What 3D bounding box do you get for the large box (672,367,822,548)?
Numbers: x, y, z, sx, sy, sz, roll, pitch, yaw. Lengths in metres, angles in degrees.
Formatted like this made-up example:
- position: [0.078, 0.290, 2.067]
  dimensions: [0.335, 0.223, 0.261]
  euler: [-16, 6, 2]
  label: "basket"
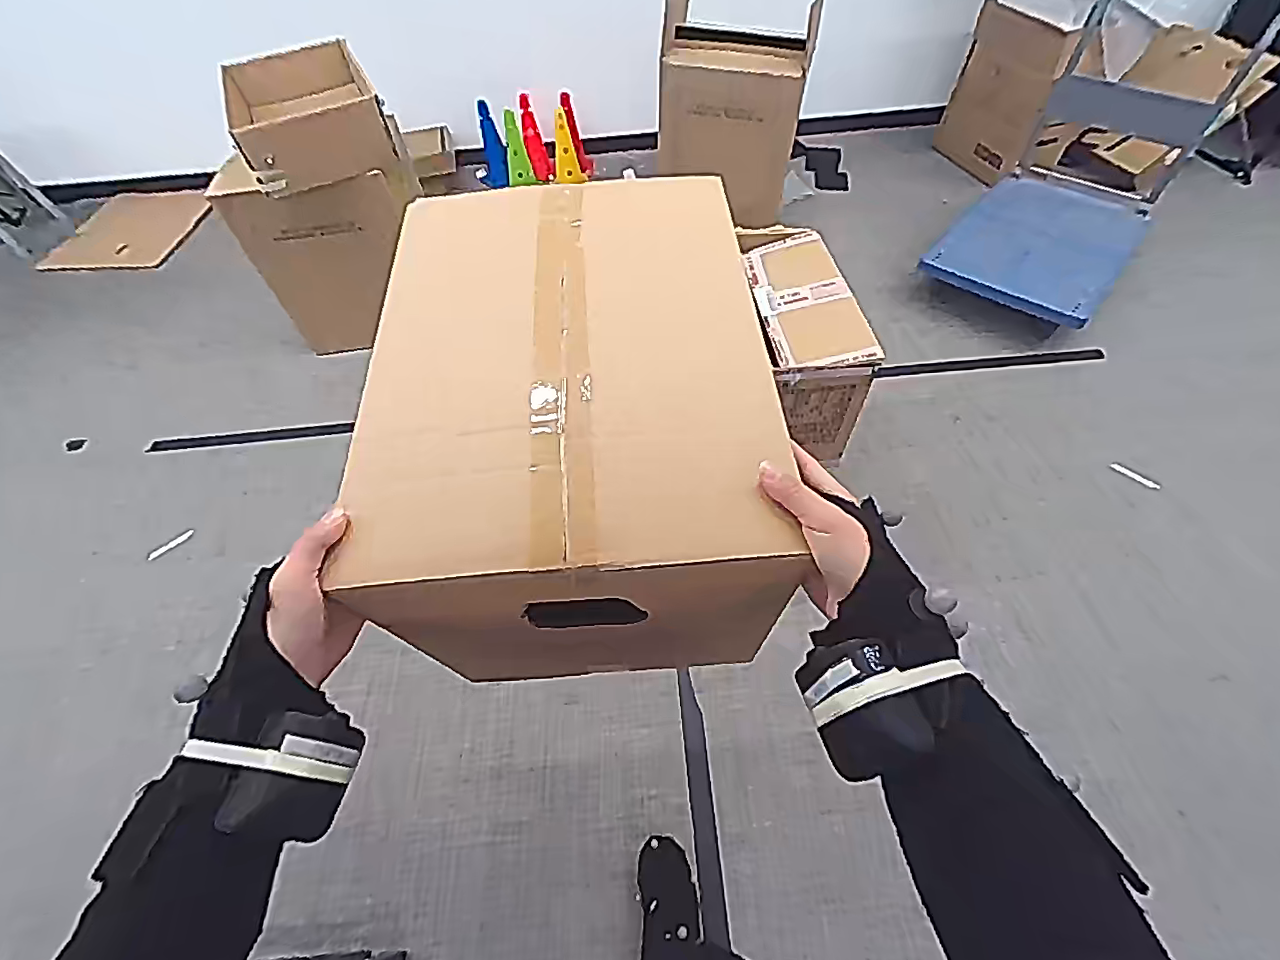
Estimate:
- position: [0.274, -0.063, 1.538]
  dimensions: [0.320, 0.320, 0.408]
  euler: [-6, 54, -1]
  label: "large box"
